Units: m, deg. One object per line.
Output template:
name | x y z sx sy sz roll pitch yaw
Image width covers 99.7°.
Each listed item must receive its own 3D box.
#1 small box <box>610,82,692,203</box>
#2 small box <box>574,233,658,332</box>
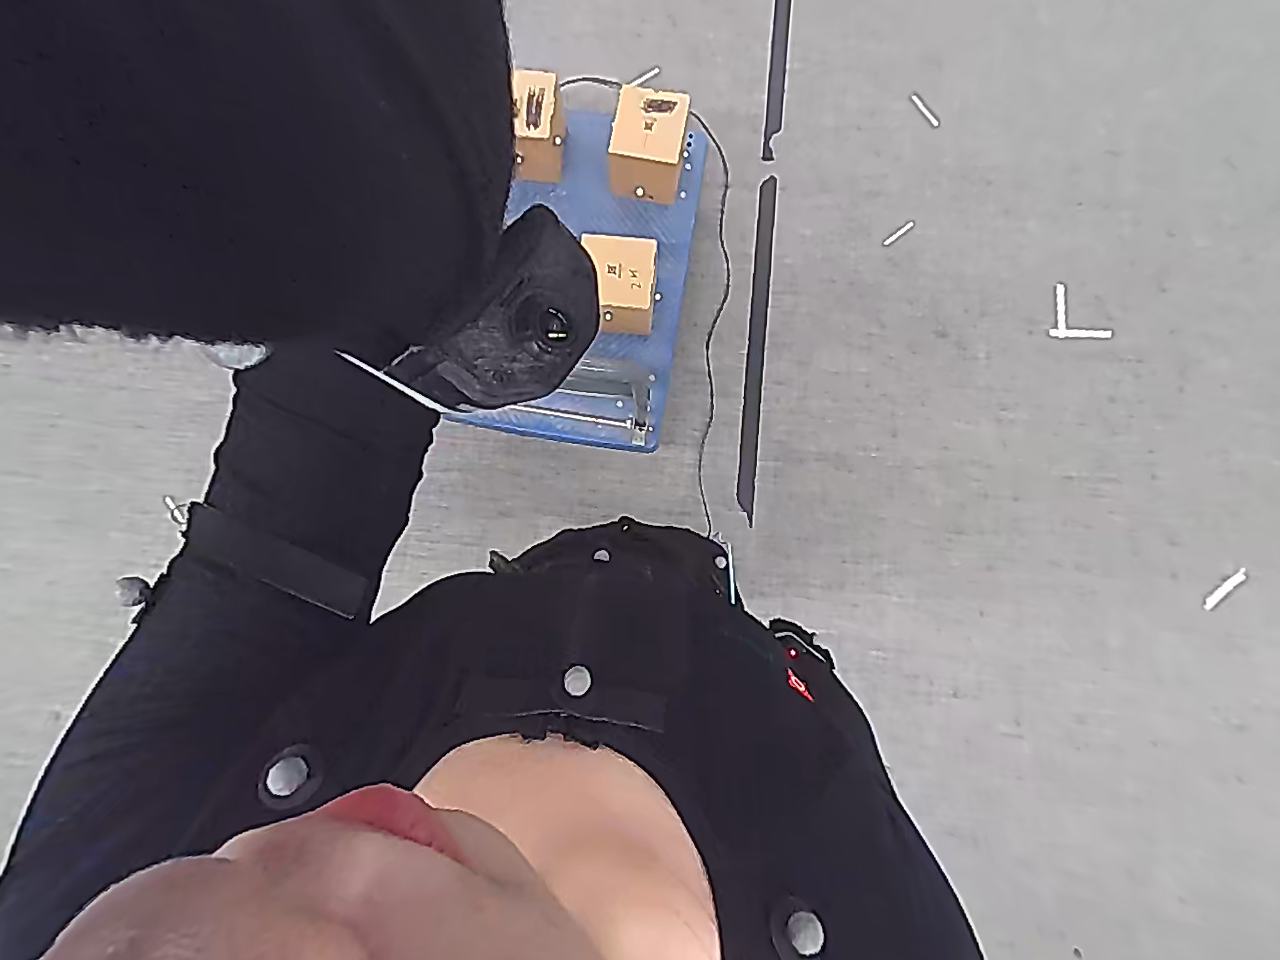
small box | 0.026 -0.823 1.331 0.168 0.176 0.179 11 86 2
small box | -0.051 -0.467 1.299 0.179 0.176 0.168 6 85 2
